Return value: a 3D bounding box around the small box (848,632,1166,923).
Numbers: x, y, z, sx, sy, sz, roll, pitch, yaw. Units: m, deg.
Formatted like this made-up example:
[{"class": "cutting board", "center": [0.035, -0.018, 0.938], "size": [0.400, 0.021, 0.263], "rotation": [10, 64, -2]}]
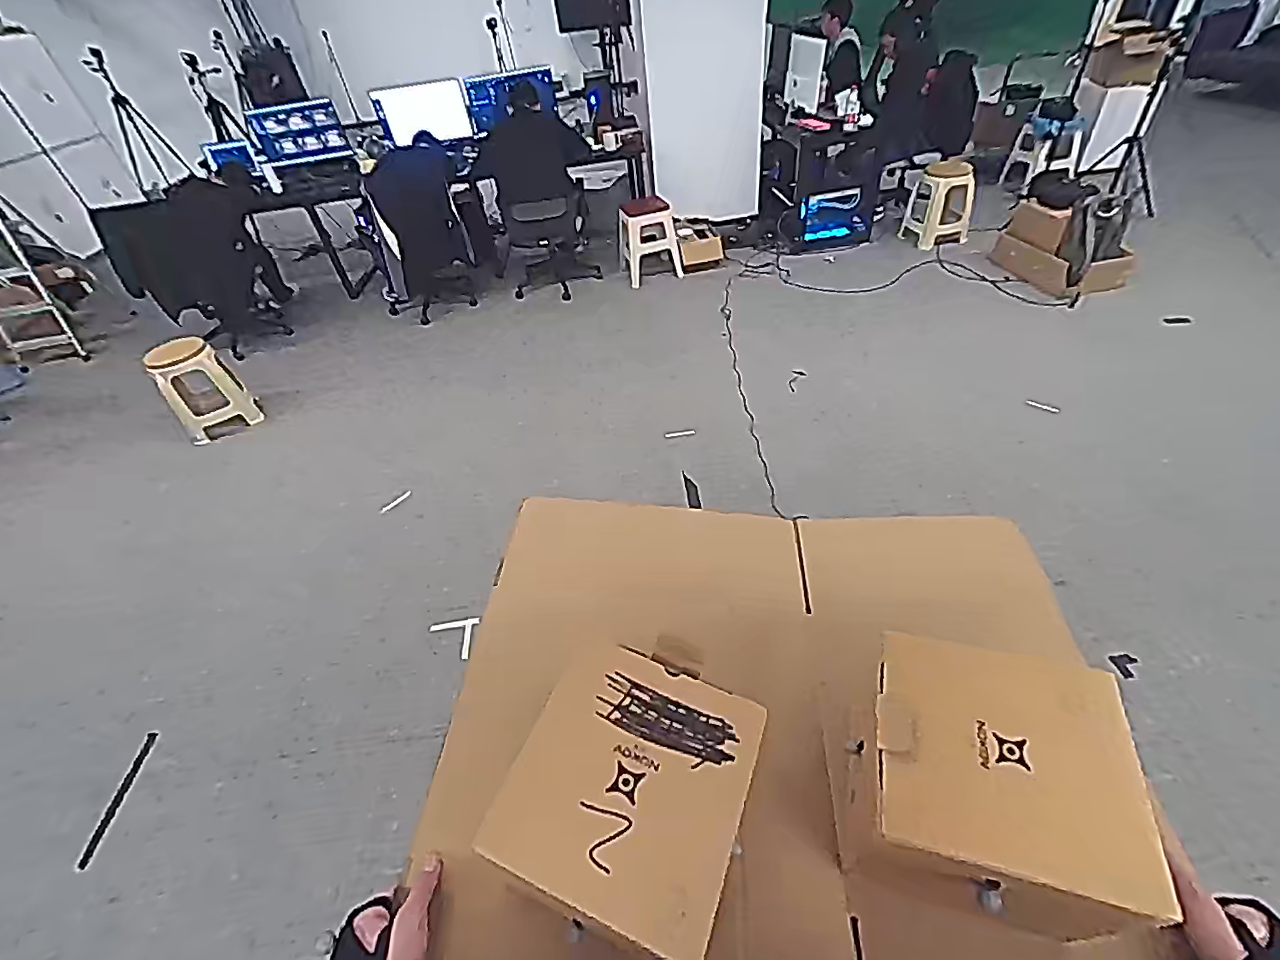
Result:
[{"class": "small box", "center": [0.291, 0.262, 0.478], "size": [0.179, 0.176, 0.168], "rotation": [6, 48, 18]}]
